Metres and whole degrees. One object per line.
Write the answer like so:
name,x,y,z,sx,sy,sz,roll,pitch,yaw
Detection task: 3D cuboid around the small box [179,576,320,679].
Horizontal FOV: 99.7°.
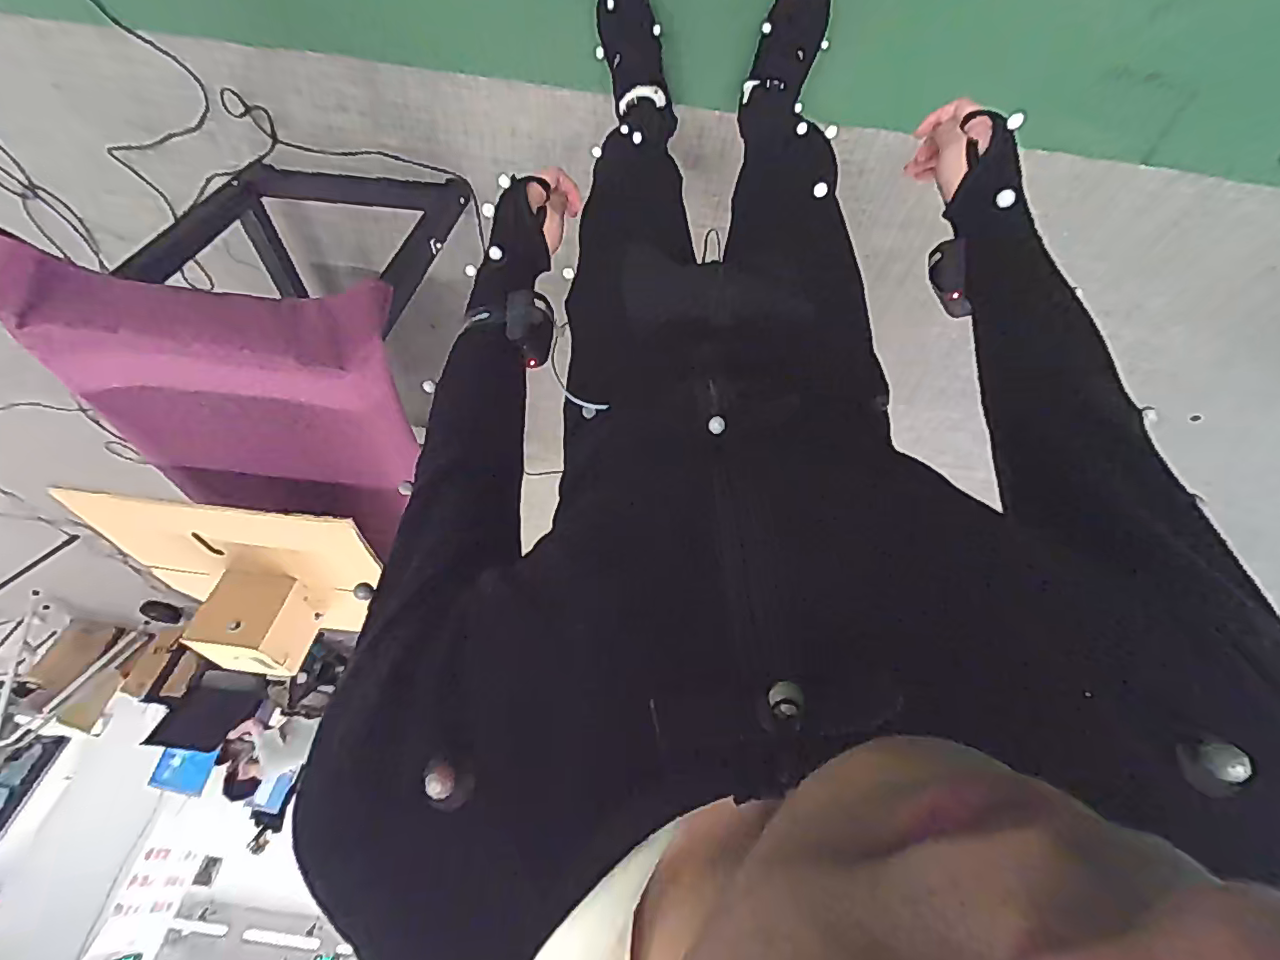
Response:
small box,-0.863,0.333,1.224,0.179,0.176,0.168,6,141,4
